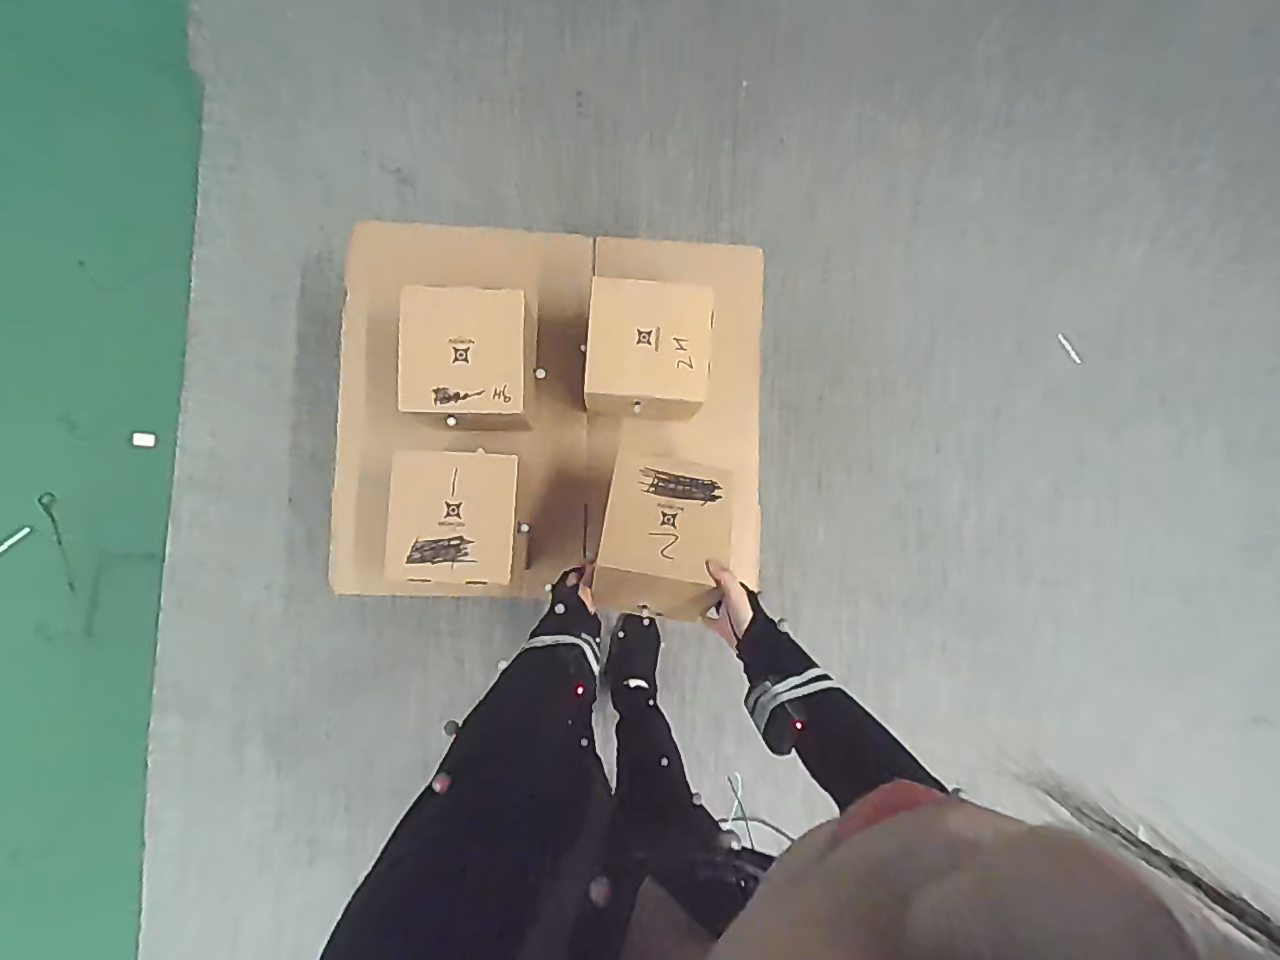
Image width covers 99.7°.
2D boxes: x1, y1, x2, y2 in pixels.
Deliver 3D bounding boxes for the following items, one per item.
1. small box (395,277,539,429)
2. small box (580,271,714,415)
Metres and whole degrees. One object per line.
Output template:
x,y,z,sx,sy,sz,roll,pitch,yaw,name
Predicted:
-0.245,-0.178,0.802,0.168,0.176,0.179,1,86,-3,small box
0.007,-0.198,0.825,0.179,0.176,0.168,5,87,-3,small box
